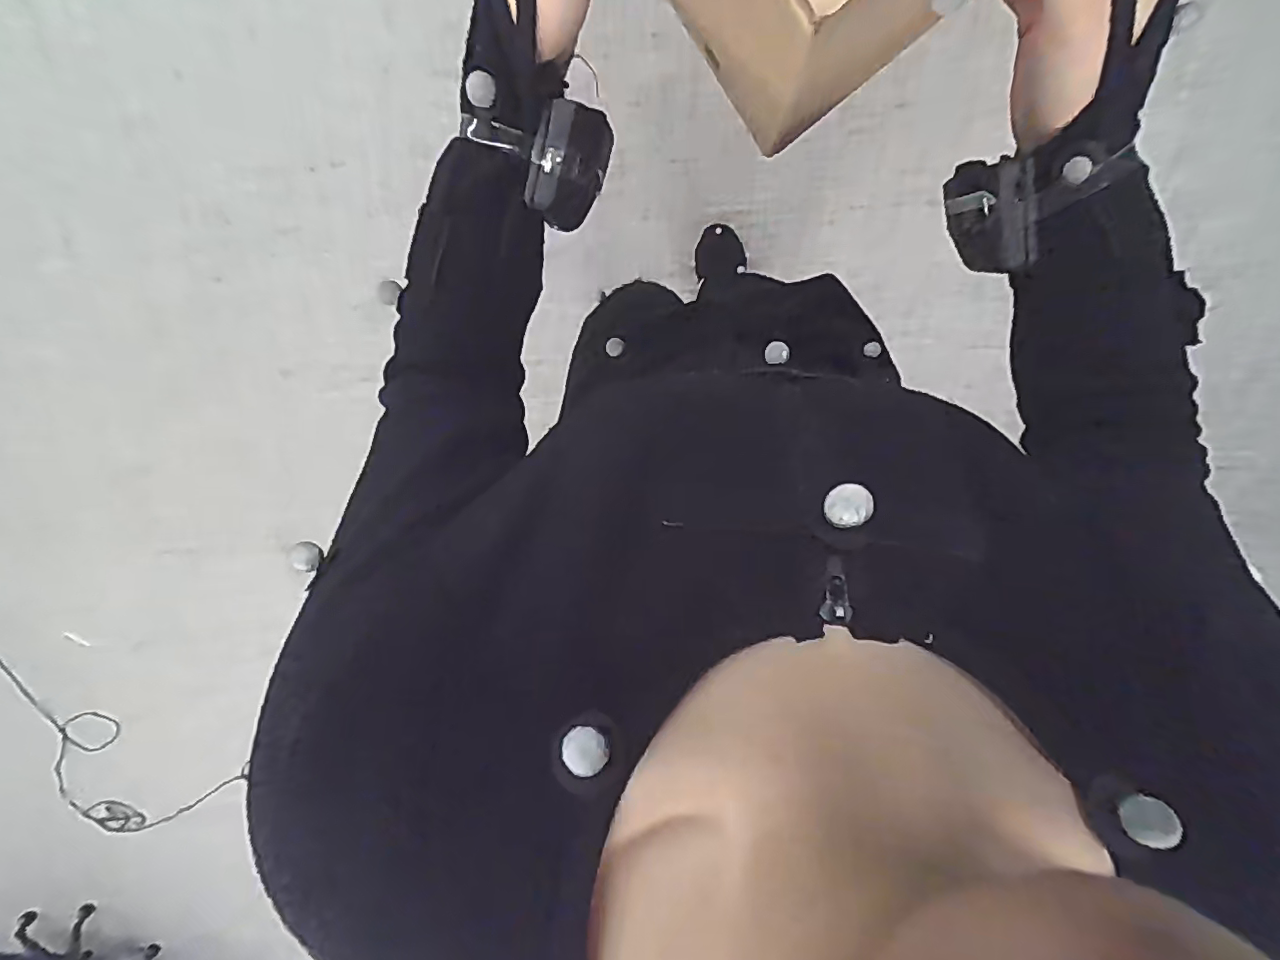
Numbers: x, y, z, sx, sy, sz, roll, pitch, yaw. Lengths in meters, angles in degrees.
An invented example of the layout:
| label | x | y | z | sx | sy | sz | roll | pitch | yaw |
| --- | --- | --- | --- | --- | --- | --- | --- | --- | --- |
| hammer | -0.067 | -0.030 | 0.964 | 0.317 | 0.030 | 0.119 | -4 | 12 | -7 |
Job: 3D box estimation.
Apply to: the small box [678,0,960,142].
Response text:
| label | x | y | z | sx | sy | sz | roll | pitch | yaw |
| --- | --- | --- | --- | --- | --- | --- | --- | --- | --- |
| small box | 0.088 | -0.288 | 0.226 | 0.179 | 0.176 | 0.168 | -34 | 99 | 17 |
